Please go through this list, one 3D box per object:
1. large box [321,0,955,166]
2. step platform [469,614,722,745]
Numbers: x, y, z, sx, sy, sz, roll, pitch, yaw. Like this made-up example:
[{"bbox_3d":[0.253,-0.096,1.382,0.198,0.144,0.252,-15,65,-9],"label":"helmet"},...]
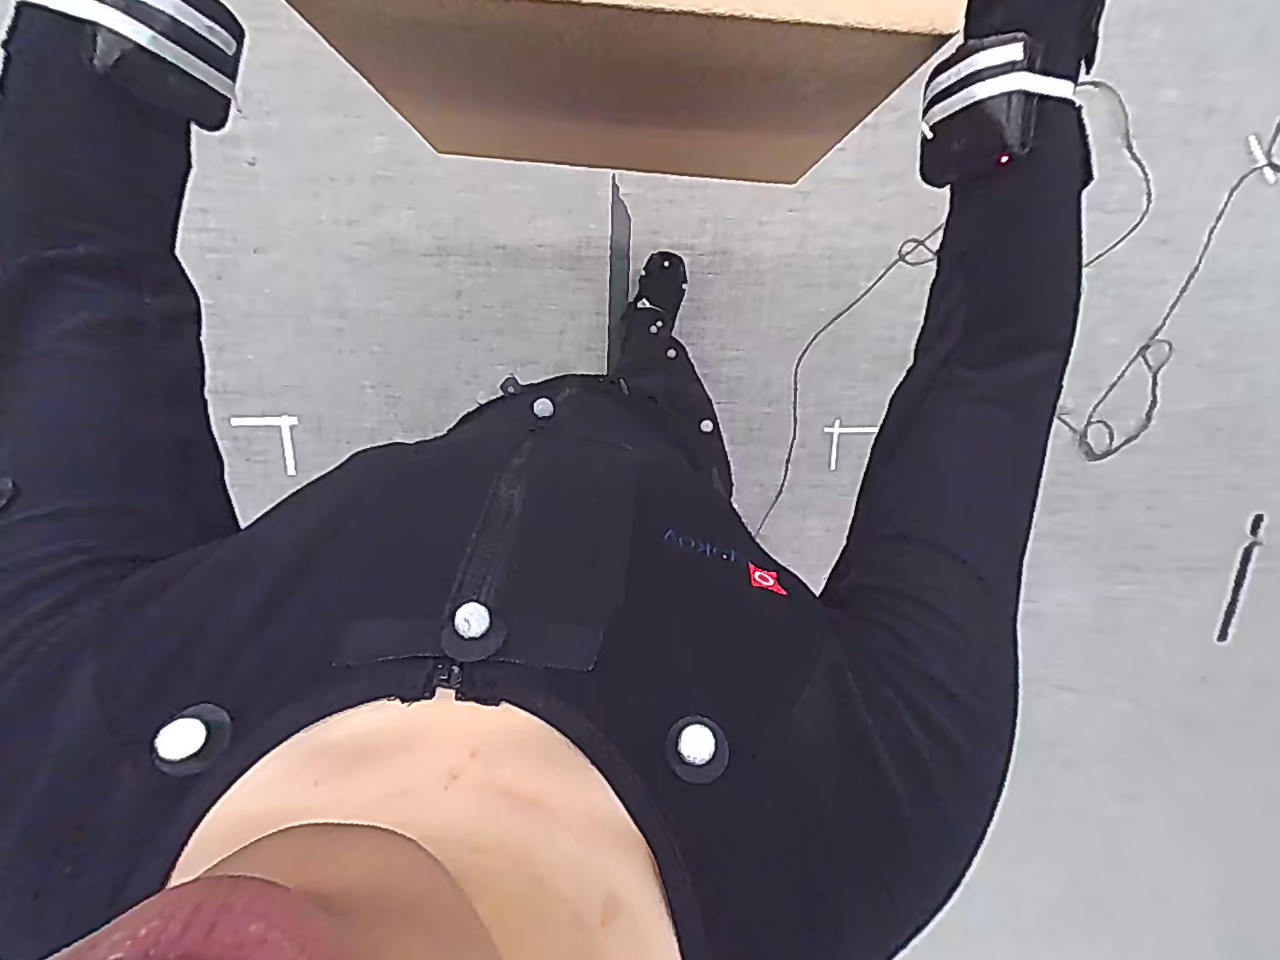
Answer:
[{"bbox_3d":[-0.008,-0.470,0.424,0.408,0.320,0.320,2,105,-3],"label":"large box"},{"bbox_3d":[-0.117,0.552,1.498,0.684,0.204,0.286,-1,102,0],"label":"step platform"}]
